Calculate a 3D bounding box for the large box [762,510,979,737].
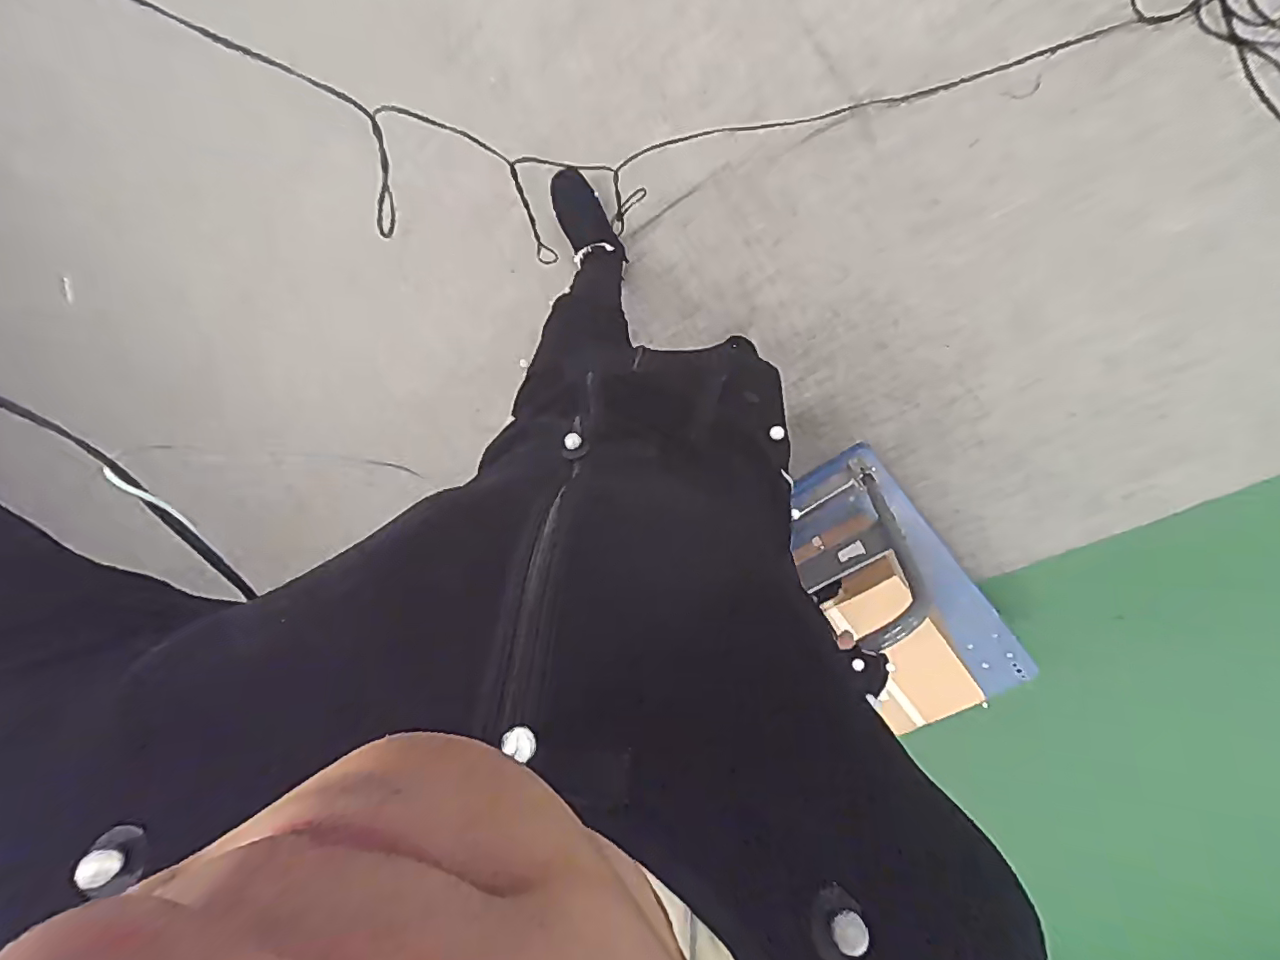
[{"bbox_3d":[0.560,0.357,1.382,0.320,0.320,0.408,-34,105,22],"label":"large box"}]
